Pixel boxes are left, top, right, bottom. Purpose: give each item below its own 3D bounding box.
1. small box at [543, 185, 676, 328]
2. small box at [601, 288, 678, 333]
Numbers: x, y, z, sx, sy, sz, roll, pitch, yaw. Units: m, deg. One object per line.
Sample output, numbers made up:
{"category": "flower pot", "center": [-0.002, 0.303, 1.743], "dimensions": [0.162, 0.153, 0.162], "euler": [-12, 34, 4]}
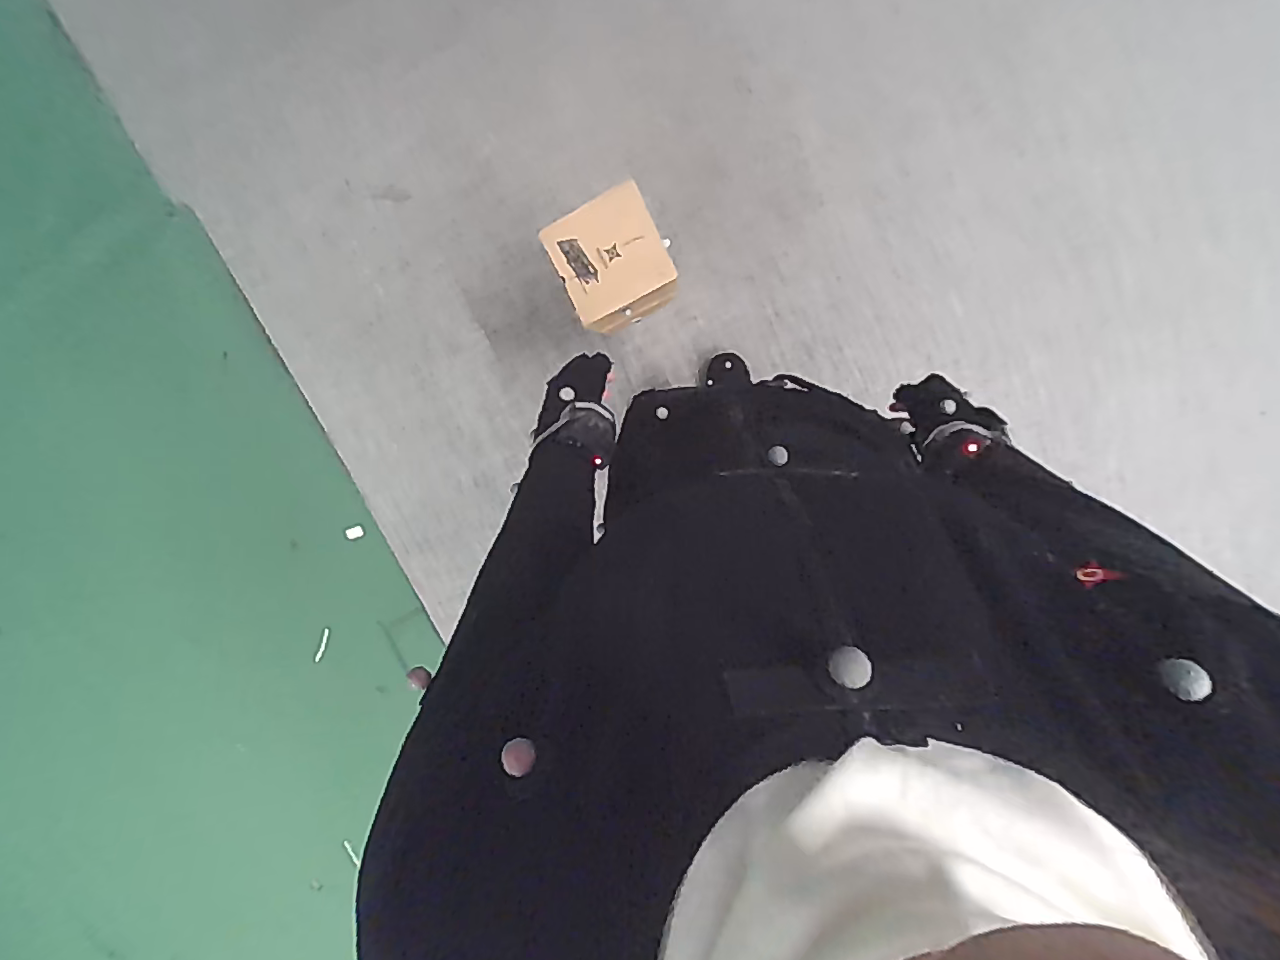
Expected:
{"category": "small box", "center": [-0.043, -0.381, 0.961], "dimensions": [0.179, 0.176, 0.168], "euler": [-25, 101, 9]}
{"category": "small box", "center": [-0.033, -0.415, 1.105], "dimensions": [0.168, 0.176, 0.179], "euler": [-26, 101, 10]}
